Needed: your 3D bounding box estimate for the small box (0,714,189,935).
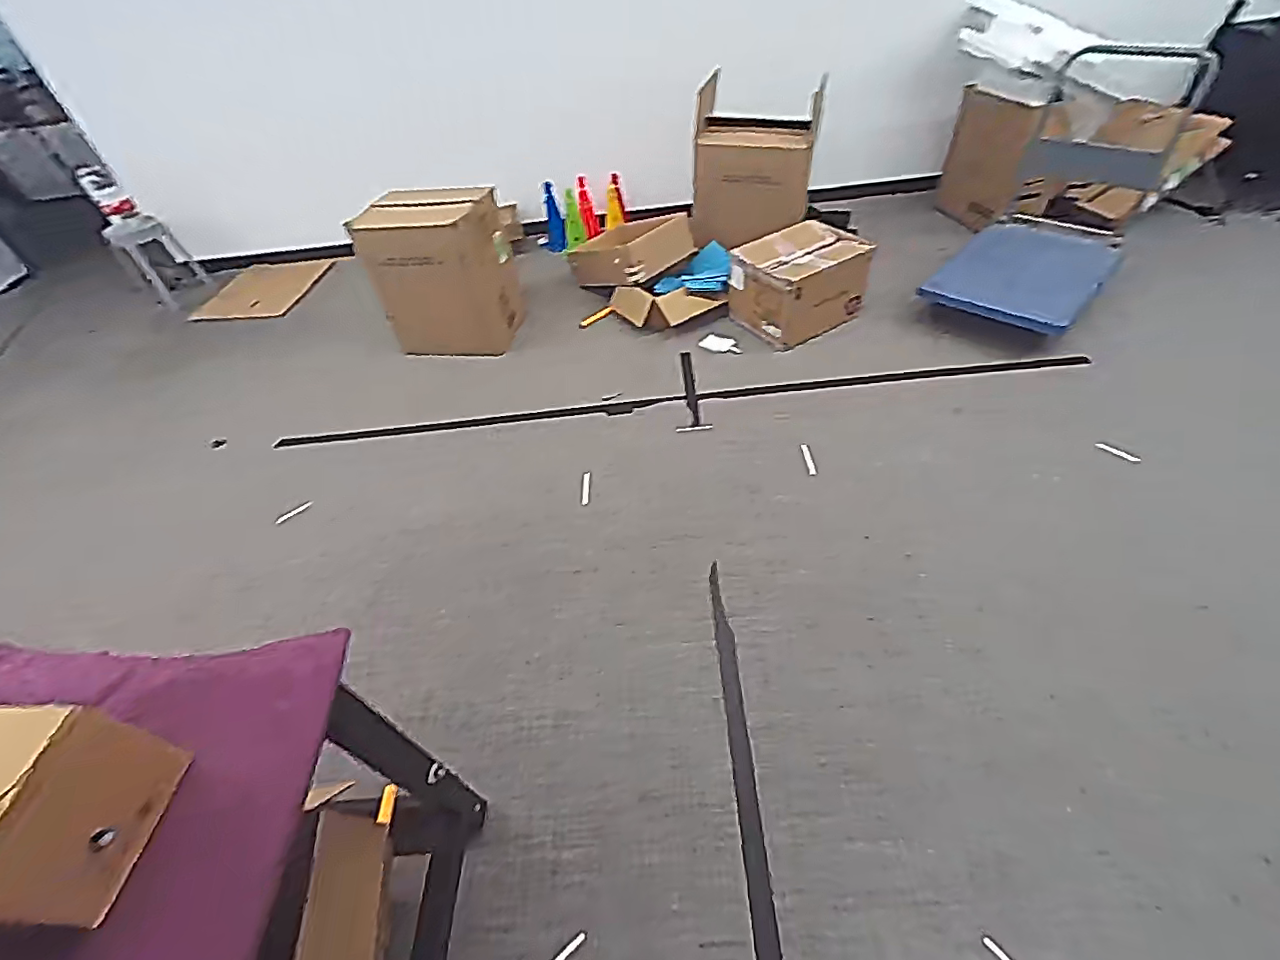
[{"bbox_3d":[-0.643,0.358,0.560,0.179,0.176,0.168,-4,46,6],"label":"small box"}]
